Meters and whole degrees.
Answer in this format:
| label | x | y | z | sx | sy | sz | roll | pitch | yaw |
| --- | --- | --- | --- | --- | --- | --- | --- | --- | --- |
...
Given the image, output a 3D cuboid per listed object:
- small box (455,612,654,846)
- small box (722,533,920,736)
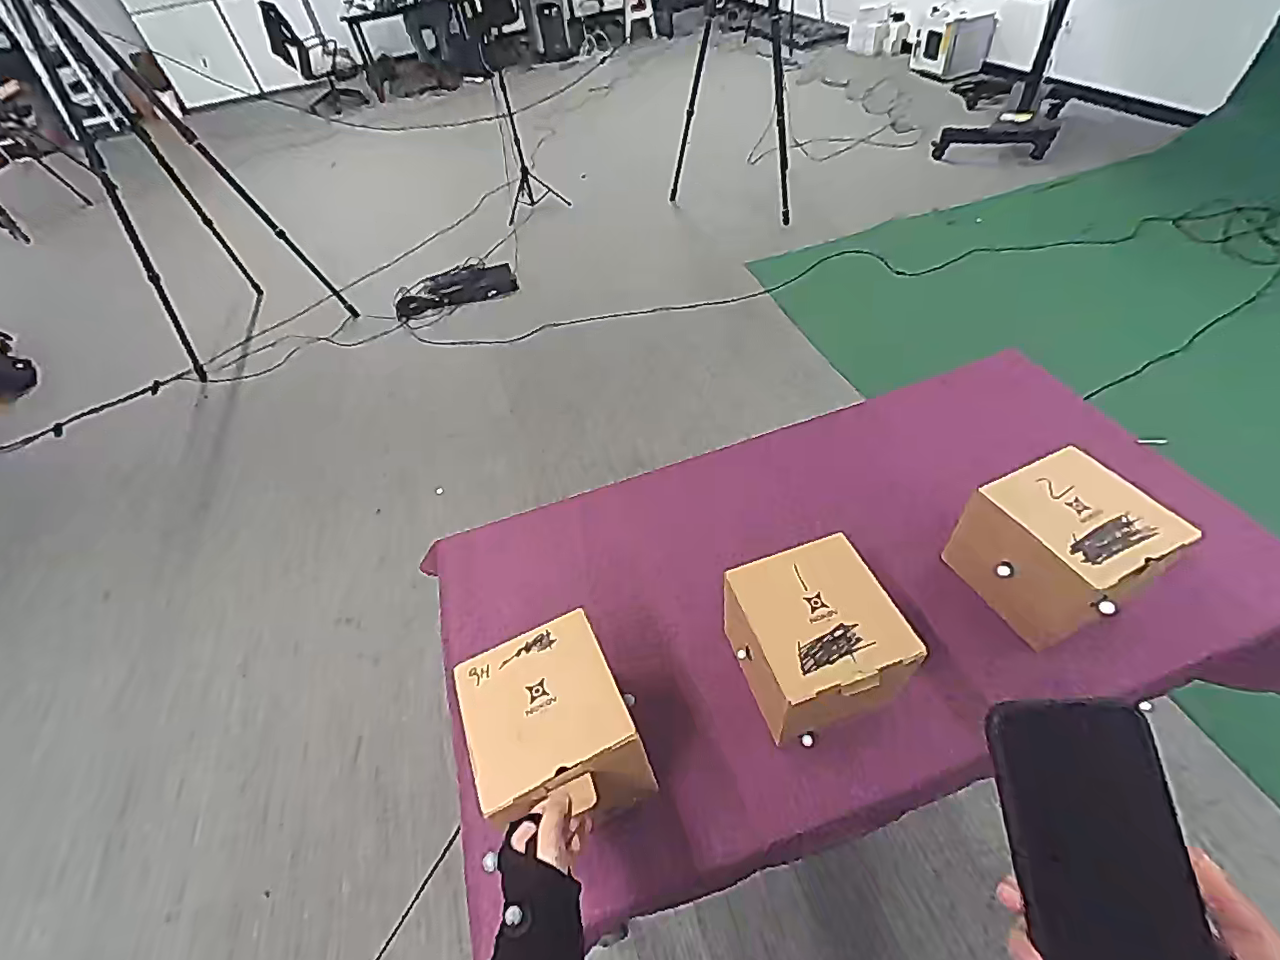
| label | x | y | z | sx | sy | sz | roll | pitch | yaw |
| --- | --- | --- | --- | --- | --- | --- | --- | --- | --- |
| small box | -0.096 | 0.299 | 0.642 | 0.168 | 0.176 | 0.179 | -24 | 43 | -11 |
| small box | 0.215 | 0.203 | 0.690 | 0.168 | 0.176 | 0.179 | -18 | 48 | -6 |
